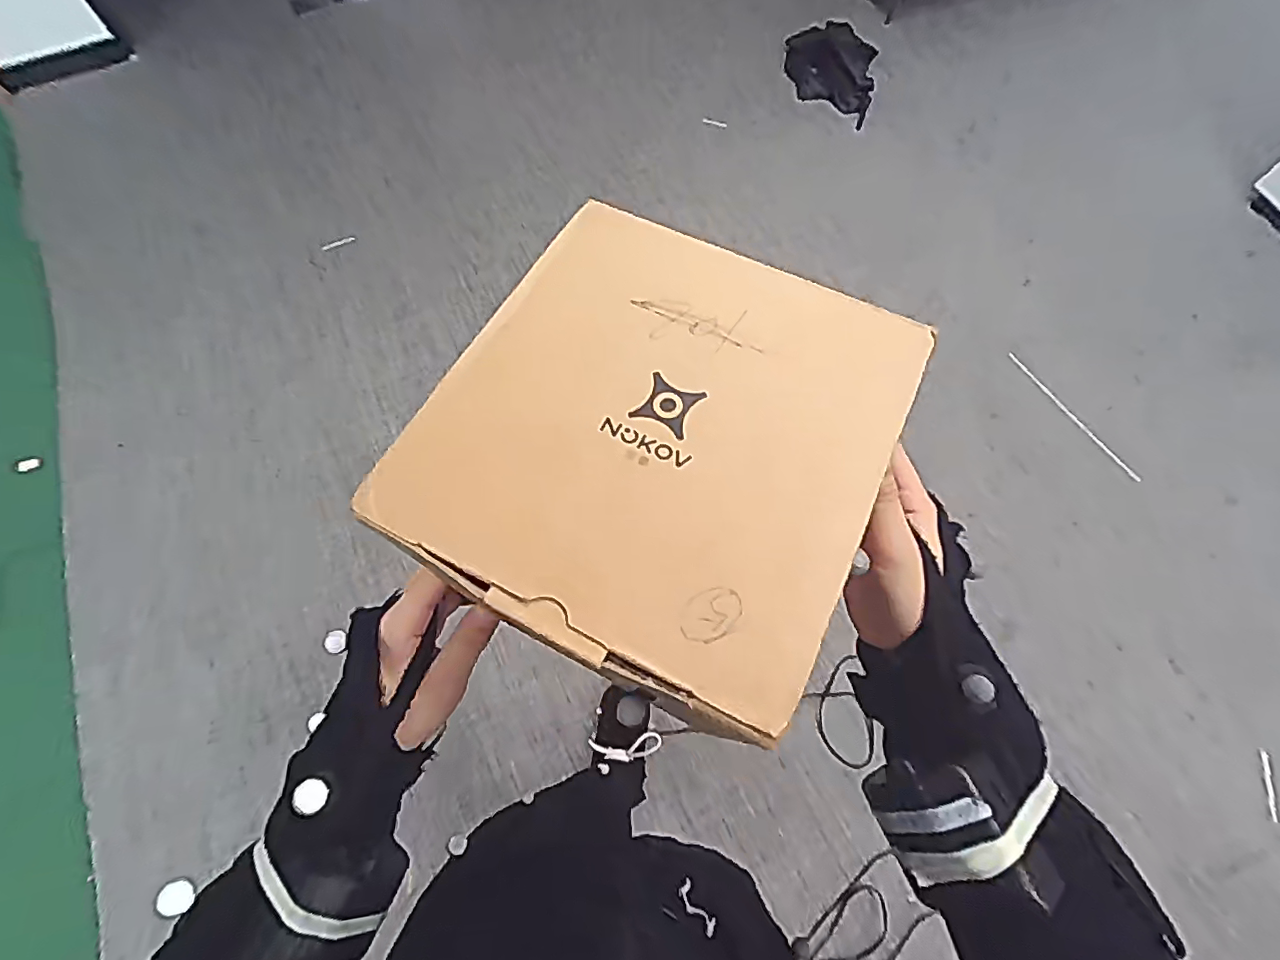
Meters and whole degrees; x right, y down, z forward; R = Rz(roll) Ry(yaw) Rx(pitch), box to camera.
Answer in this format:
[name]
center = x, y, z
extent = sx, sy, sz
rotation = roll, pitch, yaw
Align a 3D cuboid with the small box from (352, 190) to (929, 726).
[small box]
center = 0.007, 0.002, 0.278
extent = 0.168, 0.176, 0.179
rotation = 26, 68, 9
